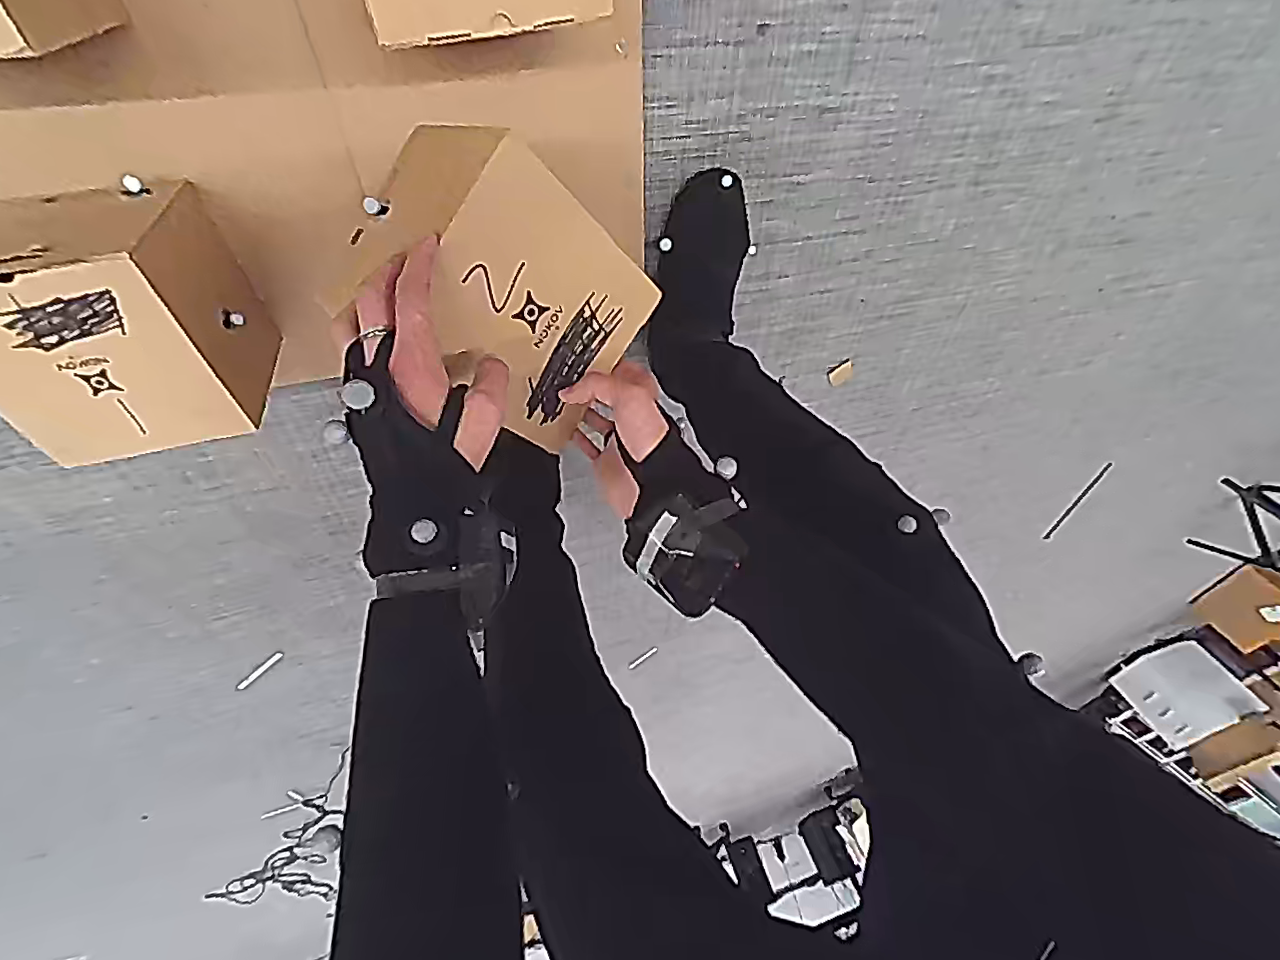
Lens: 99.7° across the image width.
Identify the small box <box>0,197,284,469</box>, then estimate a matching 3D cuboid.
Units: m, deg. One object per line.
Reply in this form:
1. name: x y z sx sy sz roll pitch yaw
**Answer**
1. small box: -0.465 -0.142 0.500 0.168 0.176 0.179 -13 138 -10
